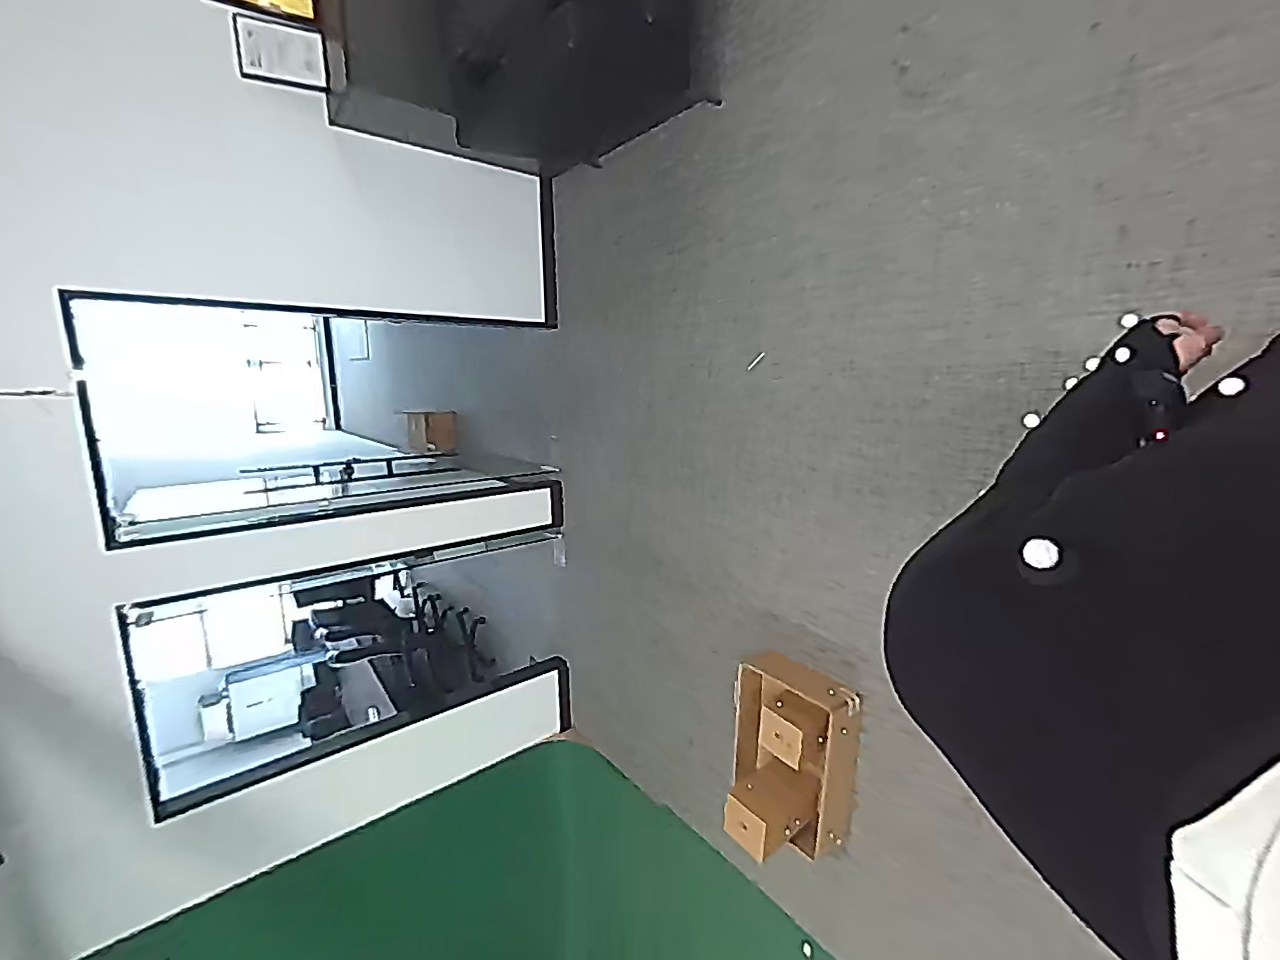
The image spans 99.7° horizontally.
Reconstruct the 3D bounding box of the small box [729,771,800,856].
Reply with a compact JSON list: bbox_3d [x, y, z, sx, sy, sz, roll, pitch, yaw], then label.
[{"bbox_3d":[0.441,1.175,1.928,0.179,0.176,0.168,17,110,48],"label":"small box"}]

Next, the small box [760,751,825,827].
[{"bbox_3d":[0.567,1.154,2.030,0.179,0.176,0.168,18,111,49],"label":"small box"}]
